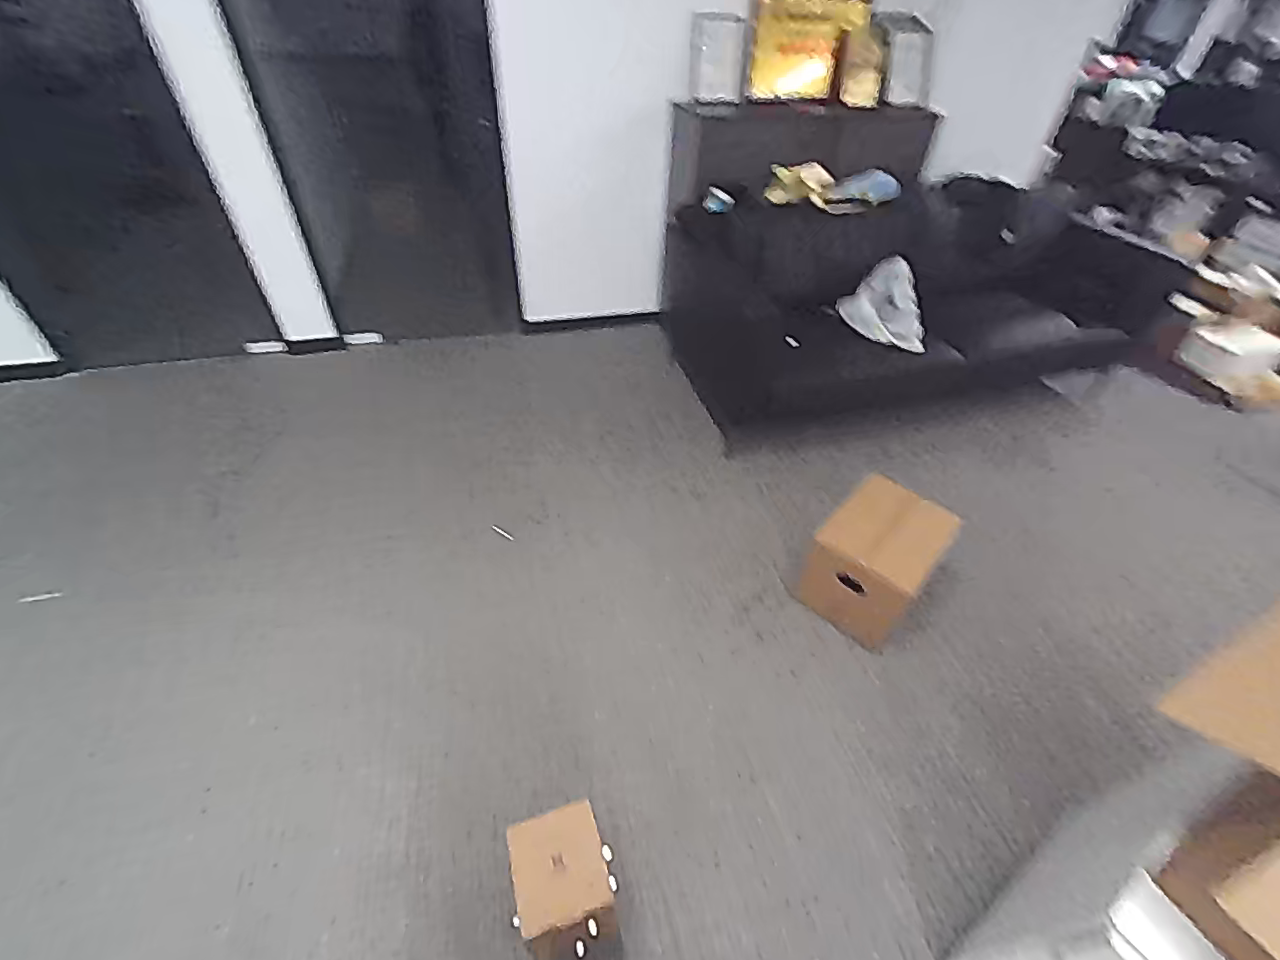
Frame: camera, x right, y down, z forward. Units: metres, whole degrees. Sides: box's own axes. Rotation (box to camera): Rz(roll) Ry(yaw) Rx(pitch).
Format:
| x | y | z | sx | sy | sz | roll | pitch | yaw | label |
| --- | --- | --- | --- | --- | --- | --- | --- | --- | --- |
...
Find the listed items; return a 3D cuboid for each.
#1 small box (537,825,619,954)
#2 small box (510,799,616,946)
| x | y | z | sx | sy | sz | roll | pitch | yaw | label |
| --- | --- | --- | --- | --- | --- | --- | --- | --- | --- |
| -0.144 | 0.878 | 1.157 | 0.168 | 0.176 | 0.179 | -10 | 44 | -14 | small box |
| -0.147 | 0.760 | 1.044 | 0.168 | 0.176 | 0.179 | -11 | 43 | -17 | small box |
